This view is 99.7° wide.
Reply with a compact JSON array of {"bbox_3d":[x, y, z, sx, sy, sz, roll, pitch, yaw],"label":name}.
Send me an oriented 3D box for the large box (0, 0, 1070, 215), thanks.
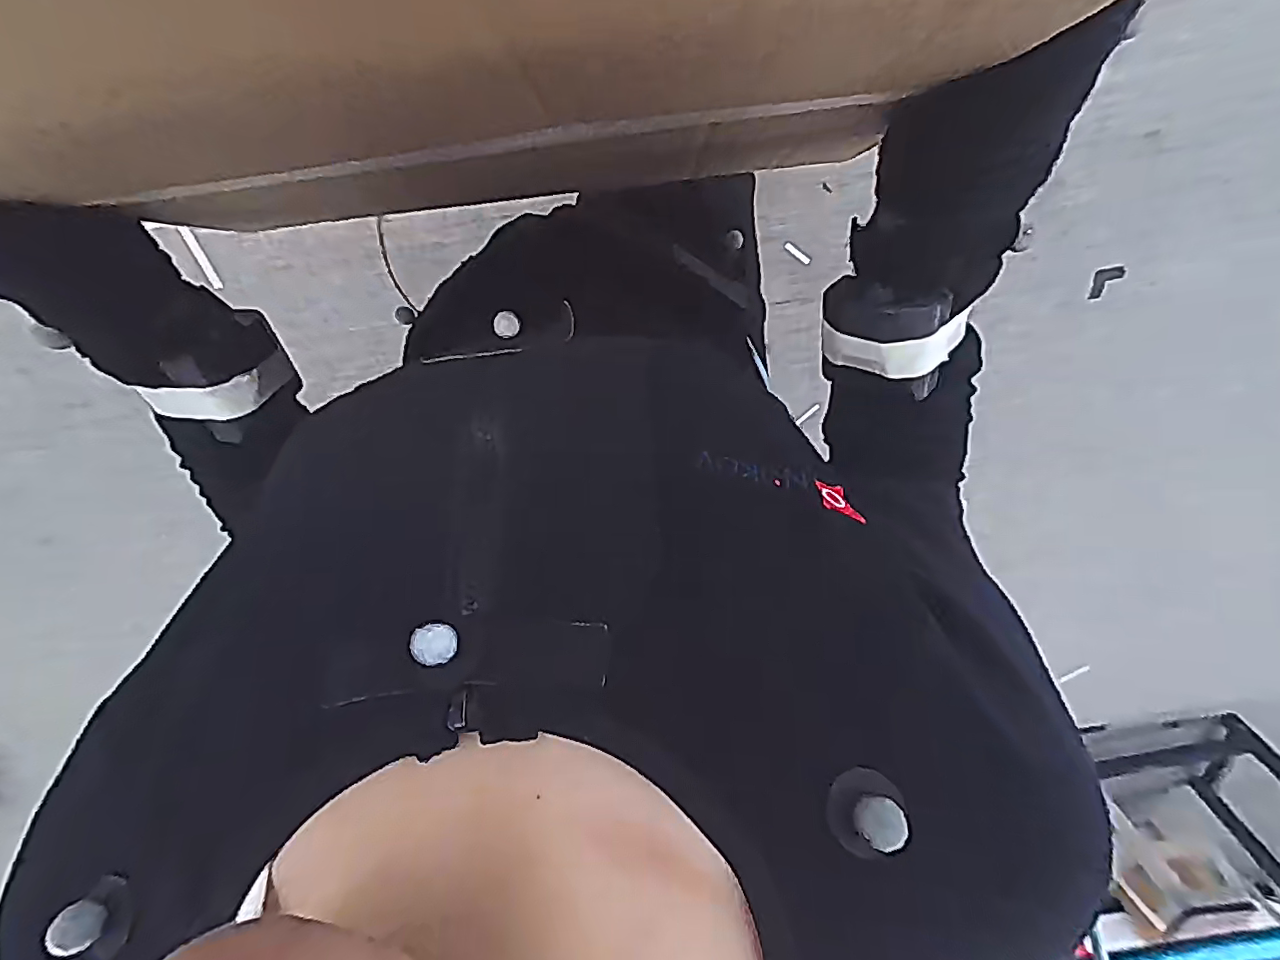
[{"bbox_3d":[-0.083,-0.291,0.170,0.408,0.320,0.320,-5,111,2],"label":"large box"}]
